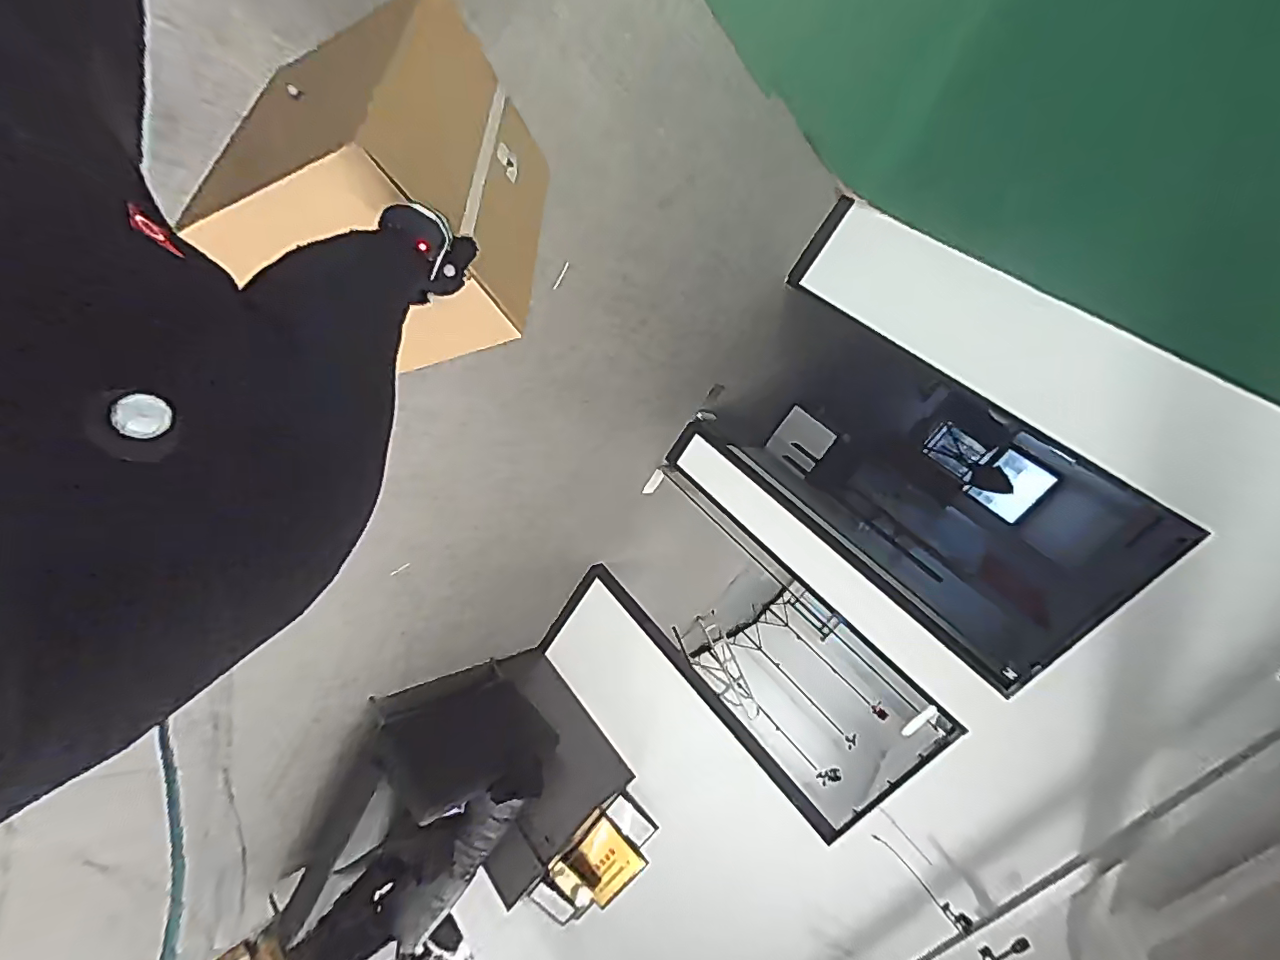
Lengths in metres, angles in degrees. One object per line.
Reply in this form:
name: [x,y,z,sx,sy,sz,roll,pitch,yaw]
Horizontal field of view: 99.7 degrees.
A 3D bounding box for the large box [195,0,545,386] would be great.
large box: [-0.371,-0.420,0.835,0.320,0.408,0.320,-11,150,20]
